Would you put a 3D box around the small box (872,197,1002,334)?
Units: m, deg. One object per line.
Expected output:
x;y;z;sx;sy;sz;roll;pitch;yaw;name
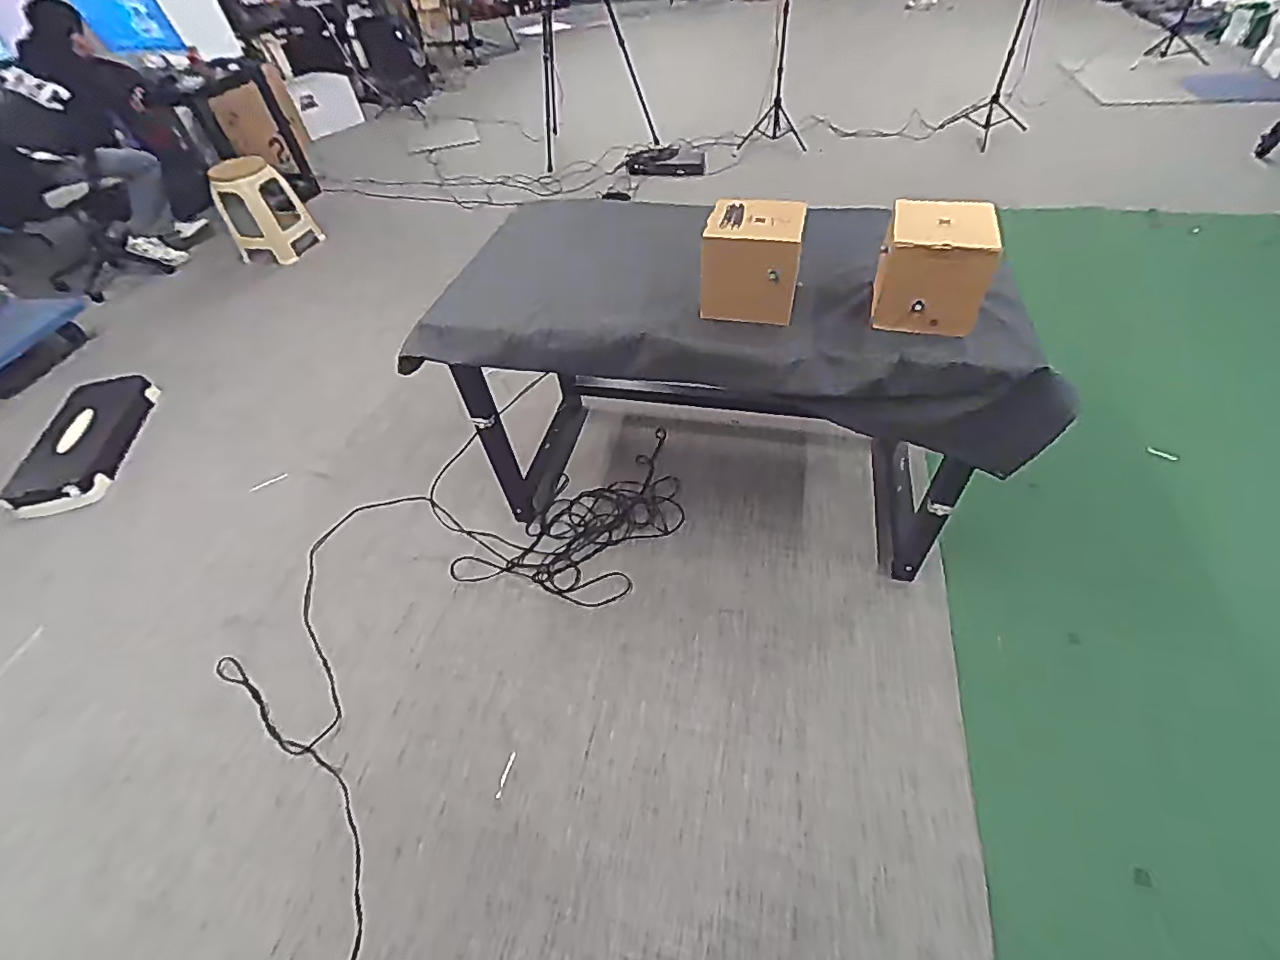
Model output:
0.533;-0.395;0.993;0.168;0.176;0.179;10;51;15;small box
